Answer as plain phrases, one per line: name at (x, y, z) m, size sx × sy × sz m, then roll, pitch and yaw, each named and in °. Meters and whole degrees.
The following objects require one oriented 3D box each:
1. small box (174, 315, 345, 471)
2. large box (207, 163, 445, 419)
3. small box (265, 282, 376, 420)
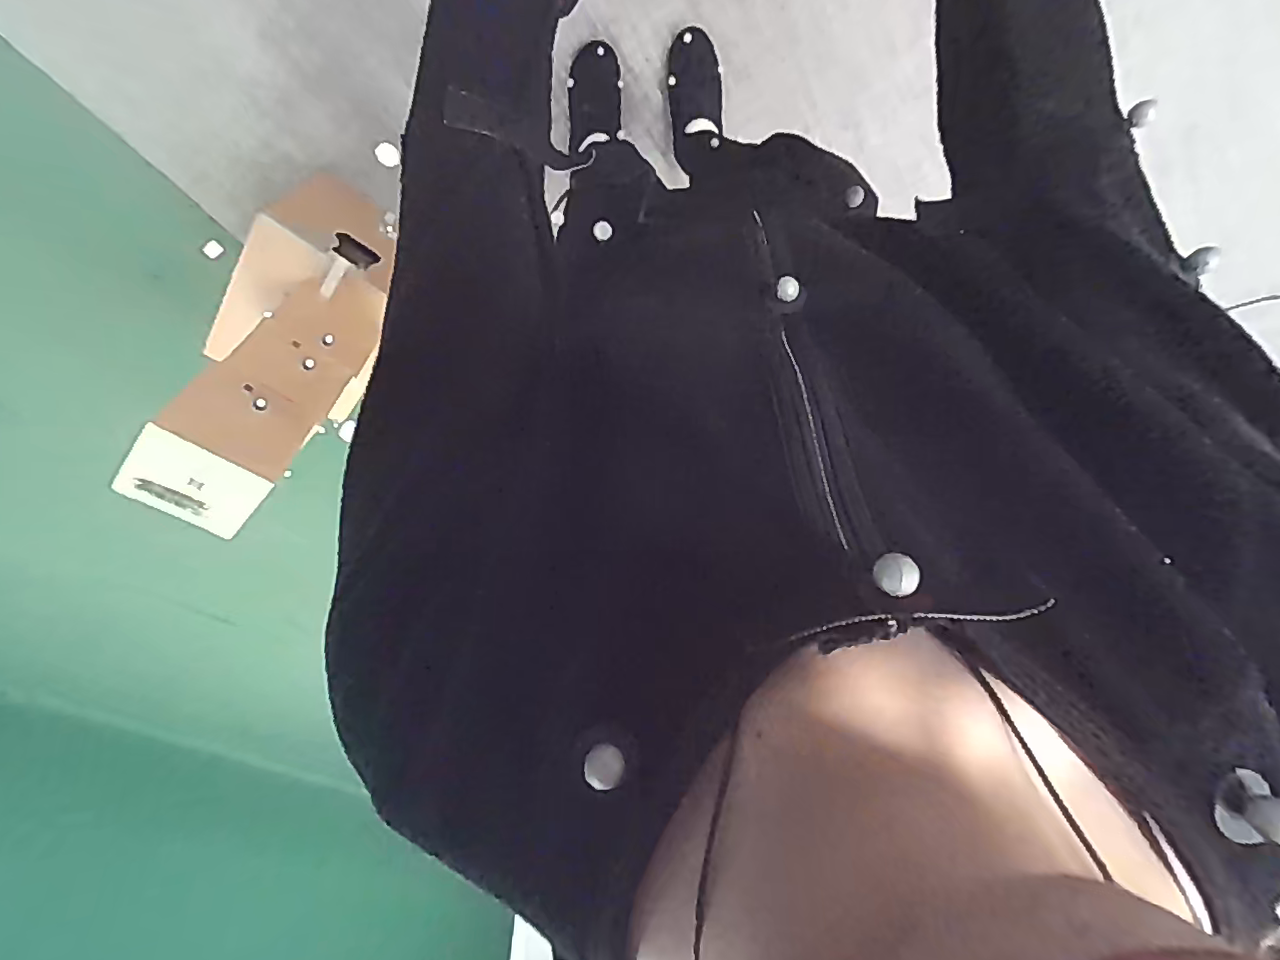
small box at (-0.665, -0.155, 0.967) m, size 0.179 × 0.176 × 0.168 m, roll -34°, pitch 126°, yaw 25°
large box at (-0.715, -0.431, 1.265) m, size 0.320 × 0.320 × 0.408 m, roll 33°, pitch 126°, yaw -28°
small box at (-0.668, -0.261, 1.089) m, size 0.168 × 0.176 × 0.179 m, roll -35°, pitch 126°, yaw 26°
